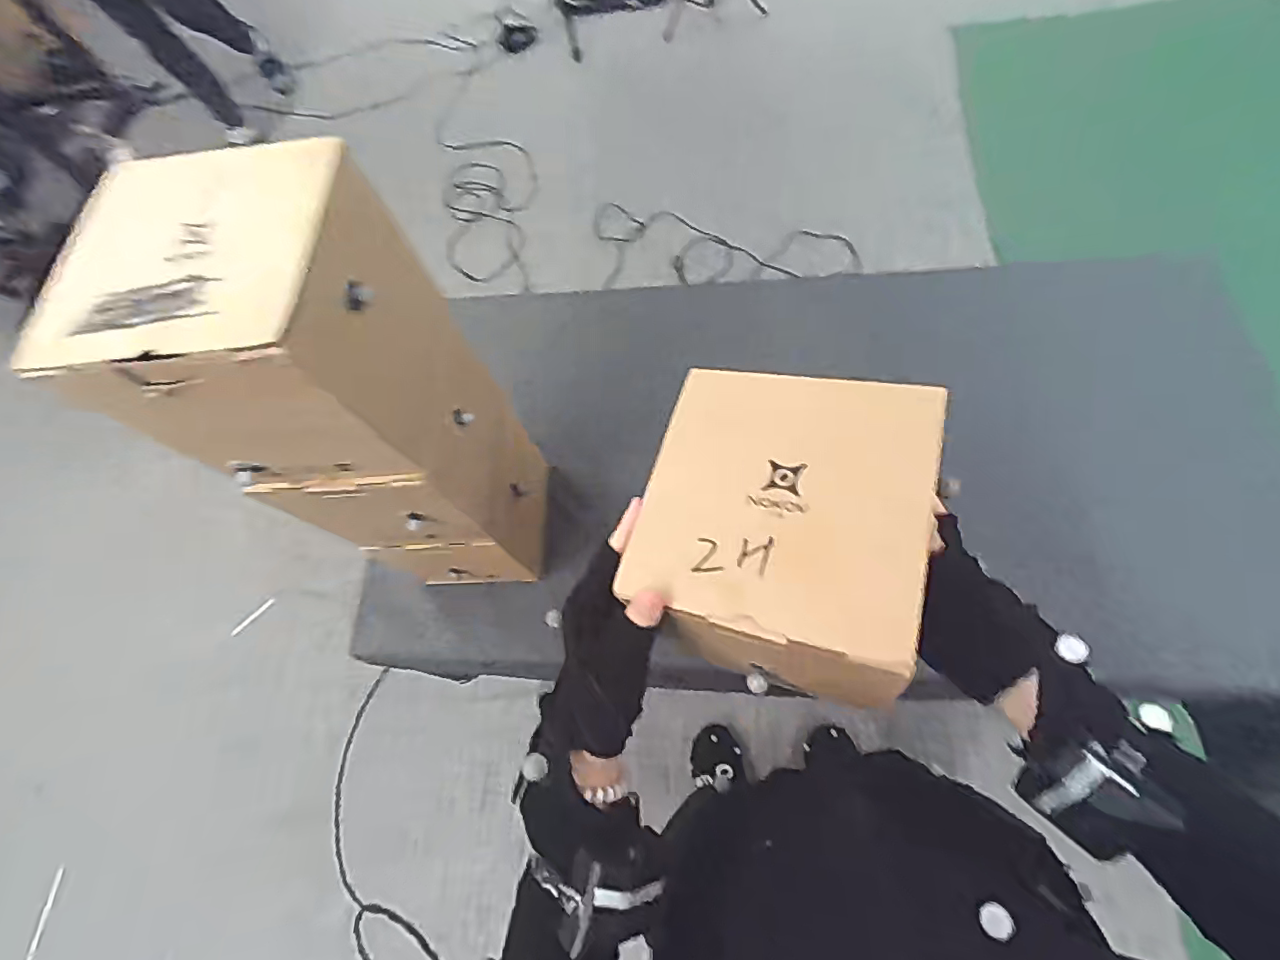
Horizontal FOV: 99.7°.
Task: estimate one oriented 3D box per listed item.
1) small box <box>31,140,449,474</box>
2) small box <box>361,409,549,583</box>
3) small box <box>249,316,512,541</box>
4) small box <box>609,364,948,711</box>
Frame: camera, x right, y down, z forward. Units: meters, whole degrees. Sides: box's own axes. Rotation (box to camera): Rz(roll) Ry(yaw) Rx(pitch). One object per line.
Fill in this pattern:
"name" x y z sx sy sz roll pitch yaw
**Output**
"small box" -0.263 -0.112 0.409 0.168 0.176 0.179 -3 66 5
"small box" -0.222 0.028 0.702 0.168 0.176 0.179 -3 66 7
"small box" -0.241 -0.039 0.555 0.168 0.176 0.179 -2 66 6
"small box" 0.103 0.044 0.385 0.168 0.176 0.179 10 66 24
